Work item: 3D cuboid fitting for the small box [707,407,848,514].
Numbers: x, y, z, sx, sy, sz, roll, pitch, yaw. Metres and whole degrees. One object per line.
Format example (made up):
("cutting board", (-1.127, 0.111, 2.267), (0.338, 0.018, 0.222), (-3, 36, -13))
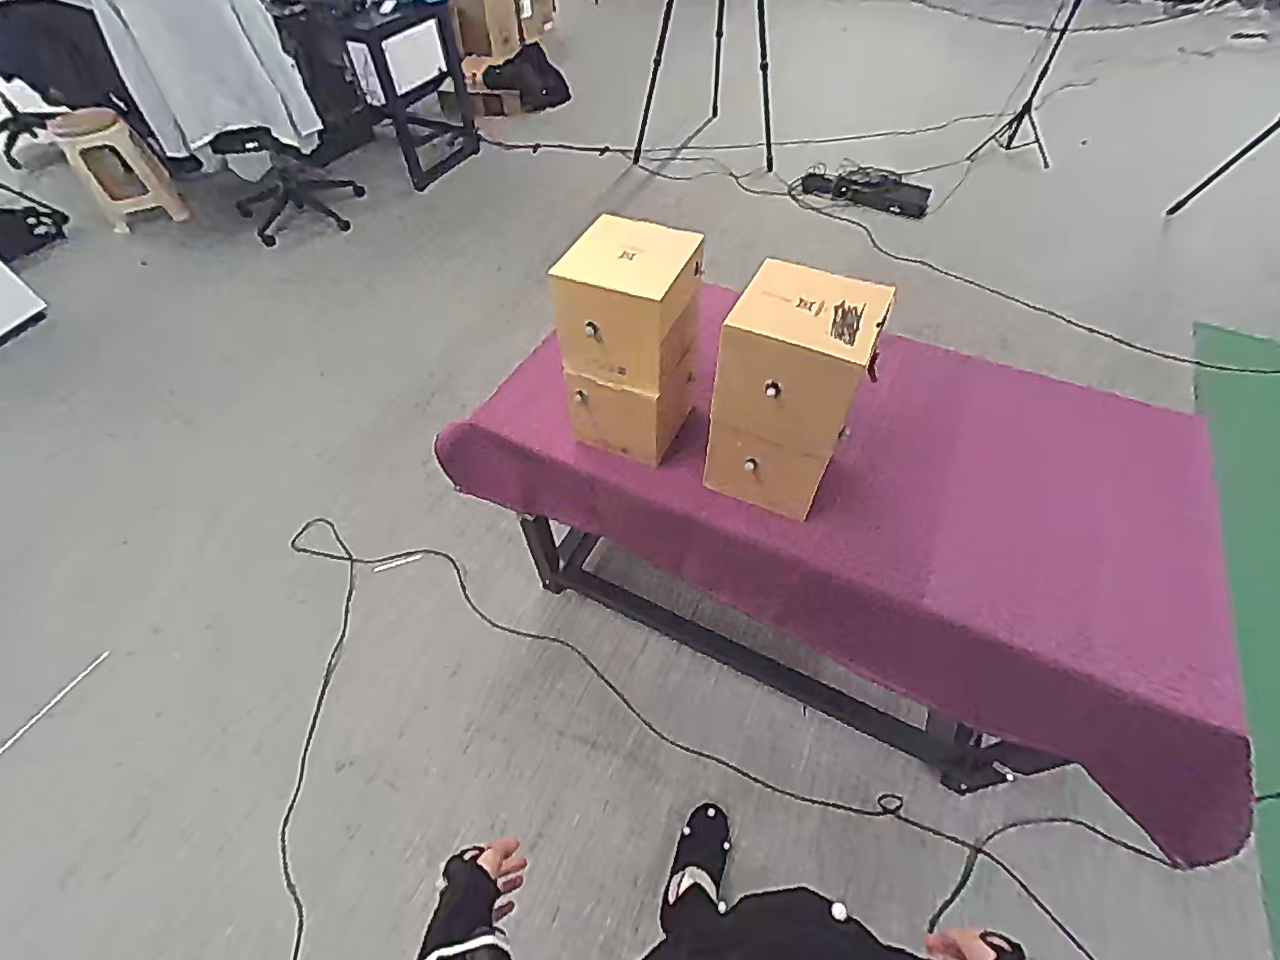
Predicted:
("small box", (0.217, -0.071, 0.862), (0.179, 0.176, 0.168), (21, 57, 17))

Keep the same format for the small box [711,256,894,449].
("small box", (0.210, -0.166, 0.728), (0.179, 0.176, 0.168), (22, 56, 17))

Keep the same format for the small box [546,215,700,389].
("small box", (-0.017, -0.263, 0.811), (0.168, 0.176, 0.179), (18, 54, 15))
